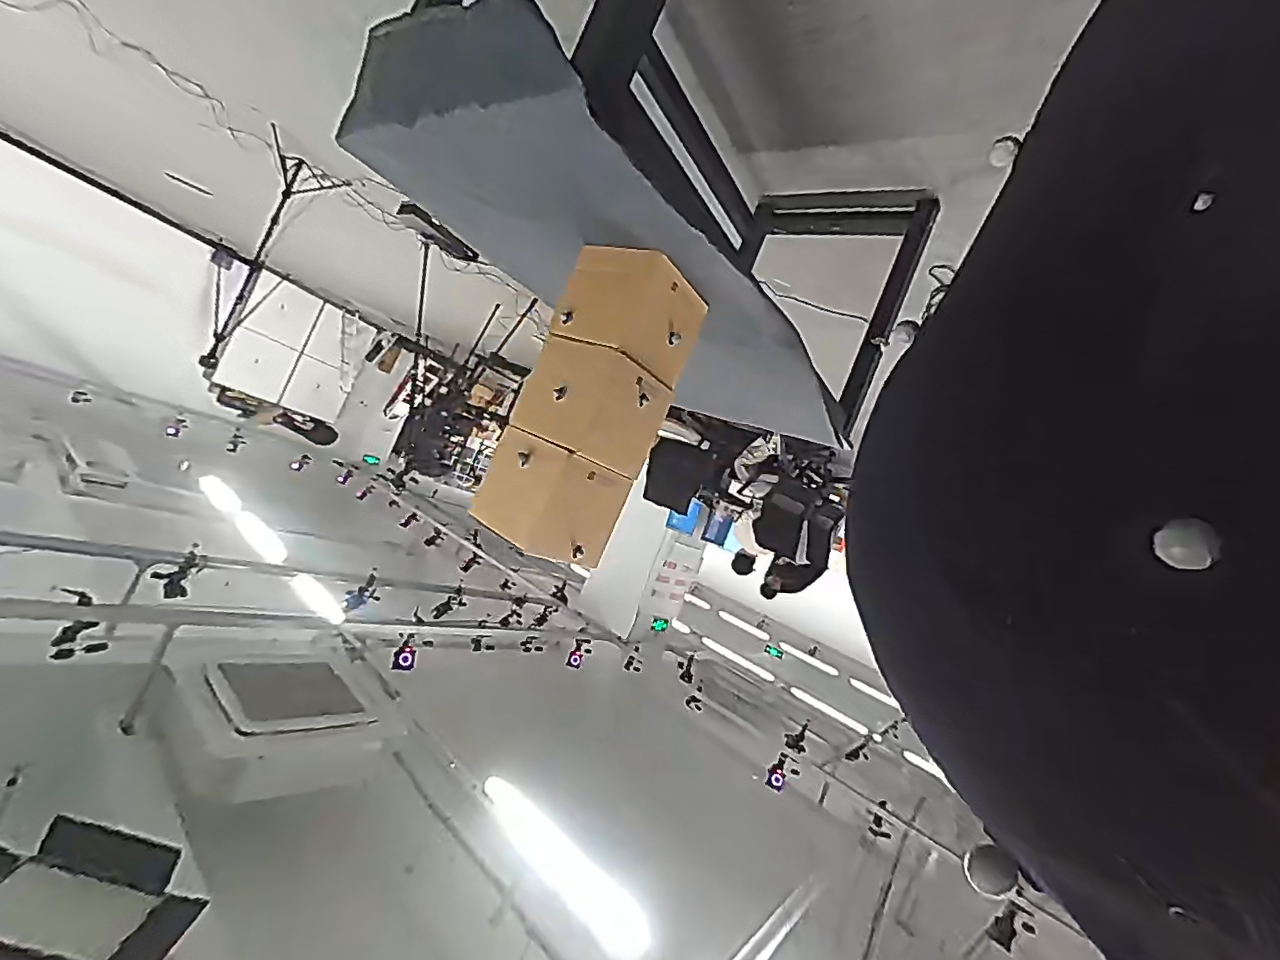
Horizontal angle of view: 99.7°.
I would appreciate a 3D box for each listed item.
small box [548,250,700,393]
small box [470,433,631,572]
[{"bbox_3d":[-0.018,-0.269,0.917,0.179,0.176,0.168,23,179,36],"label":"small box"},{"bbox_3d":[-0.146,0.034,0.910,0.179,0.176,0.168,23,179,39],"label":"small box"}]
